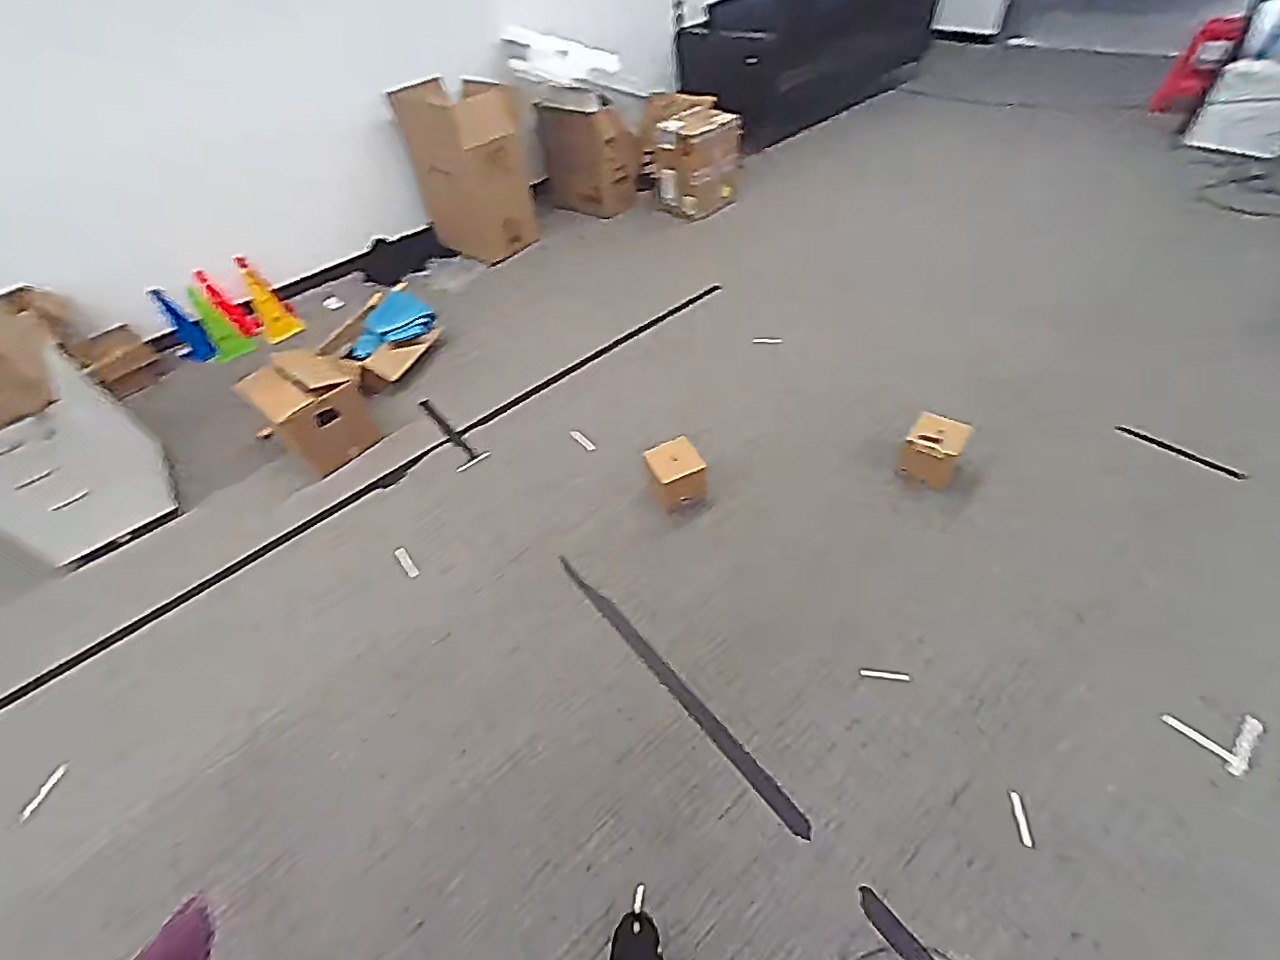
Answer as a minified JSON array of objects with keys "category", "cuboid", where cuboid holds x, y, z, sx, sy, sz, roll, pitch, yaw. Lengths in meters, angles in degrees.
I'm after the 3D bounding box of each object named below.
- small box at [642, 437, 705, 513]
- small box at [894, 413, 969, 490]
[{"category":"small box","cuboid":[0.121,-0.016,1.928,0.168,0.176,0.179,-23,51,-11]},{"category":"small box","cuboid":[1.008,-0.097,1.884,0.168,0.176,0.179,27,56,28]}]
